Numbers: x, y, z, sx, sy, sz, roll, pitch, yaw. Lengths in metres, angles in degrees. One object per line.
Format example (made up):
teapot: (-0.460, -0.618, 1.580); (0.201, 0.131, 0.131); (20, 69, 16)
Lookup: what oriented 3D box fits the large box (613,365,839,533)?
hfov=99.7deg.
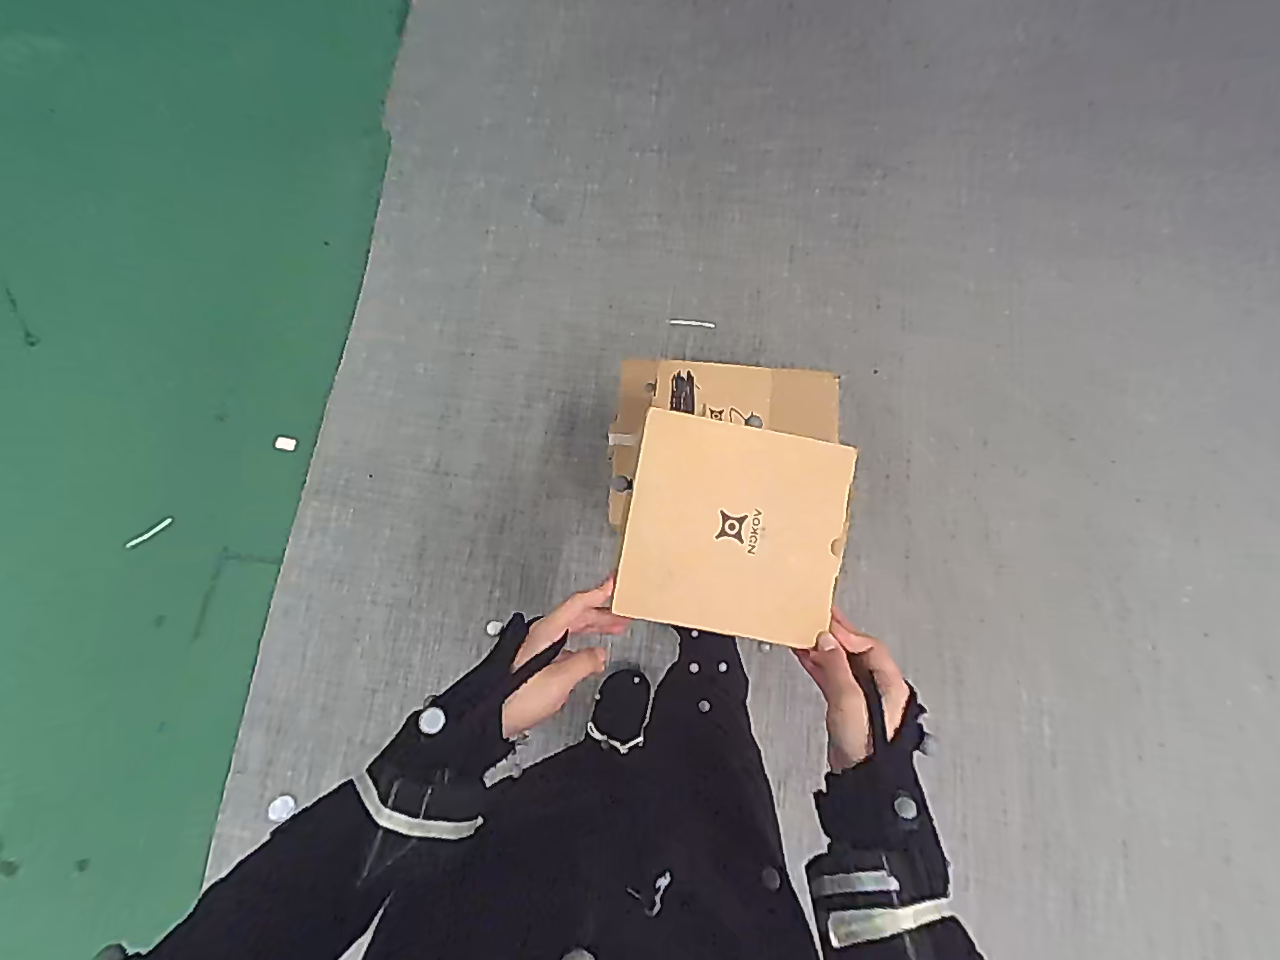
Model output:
large box: (0.158, -0.024, 1.118); (0.408, 0.320, 0.320); (4, 79, 2)

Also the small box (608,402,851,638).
small box: (0.068, 0.038, 0.510); (0.179, 0.176, 0.168); (10, 85, -4)
